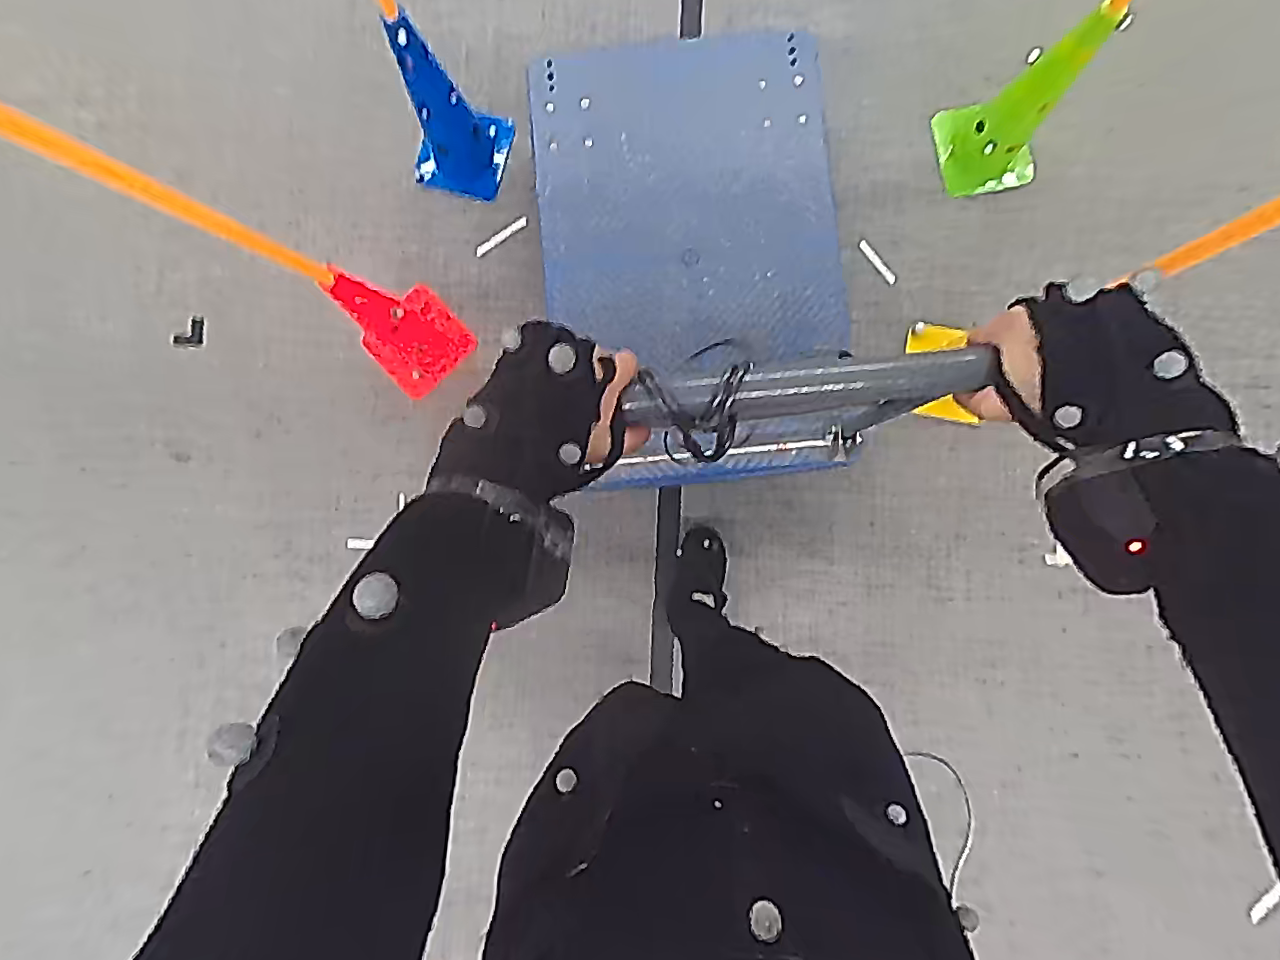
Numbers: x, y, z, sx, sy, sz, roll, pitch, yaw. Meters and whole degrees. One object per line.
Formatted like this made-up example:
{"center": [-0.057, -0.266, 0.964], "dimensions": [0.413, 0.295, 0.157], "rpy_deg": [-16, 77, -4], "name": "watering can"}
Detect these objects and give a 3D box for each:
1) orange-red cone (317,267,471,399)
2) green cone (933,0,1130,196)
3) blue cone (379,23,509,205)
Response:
{"center": [-0.507, -0.320, 1.052], "dimensions": [0.199, 0.360, 0.198], "rpy_deg": [-43, 87, -3], "name": "orange-red cone"}
{"center": [0.768, -0.759, 1.048], "dimensions": [0.200, 0.368, 0.202], "rpy_deg": [-12, 88, 1], "name": "green cone"}
{"center": [-0.413, -0.752, 1.090], "dimensions": [0.193, 0.380, 0.192], "rpy_deg": [17, 88, 2], "name": "blue cone"}
